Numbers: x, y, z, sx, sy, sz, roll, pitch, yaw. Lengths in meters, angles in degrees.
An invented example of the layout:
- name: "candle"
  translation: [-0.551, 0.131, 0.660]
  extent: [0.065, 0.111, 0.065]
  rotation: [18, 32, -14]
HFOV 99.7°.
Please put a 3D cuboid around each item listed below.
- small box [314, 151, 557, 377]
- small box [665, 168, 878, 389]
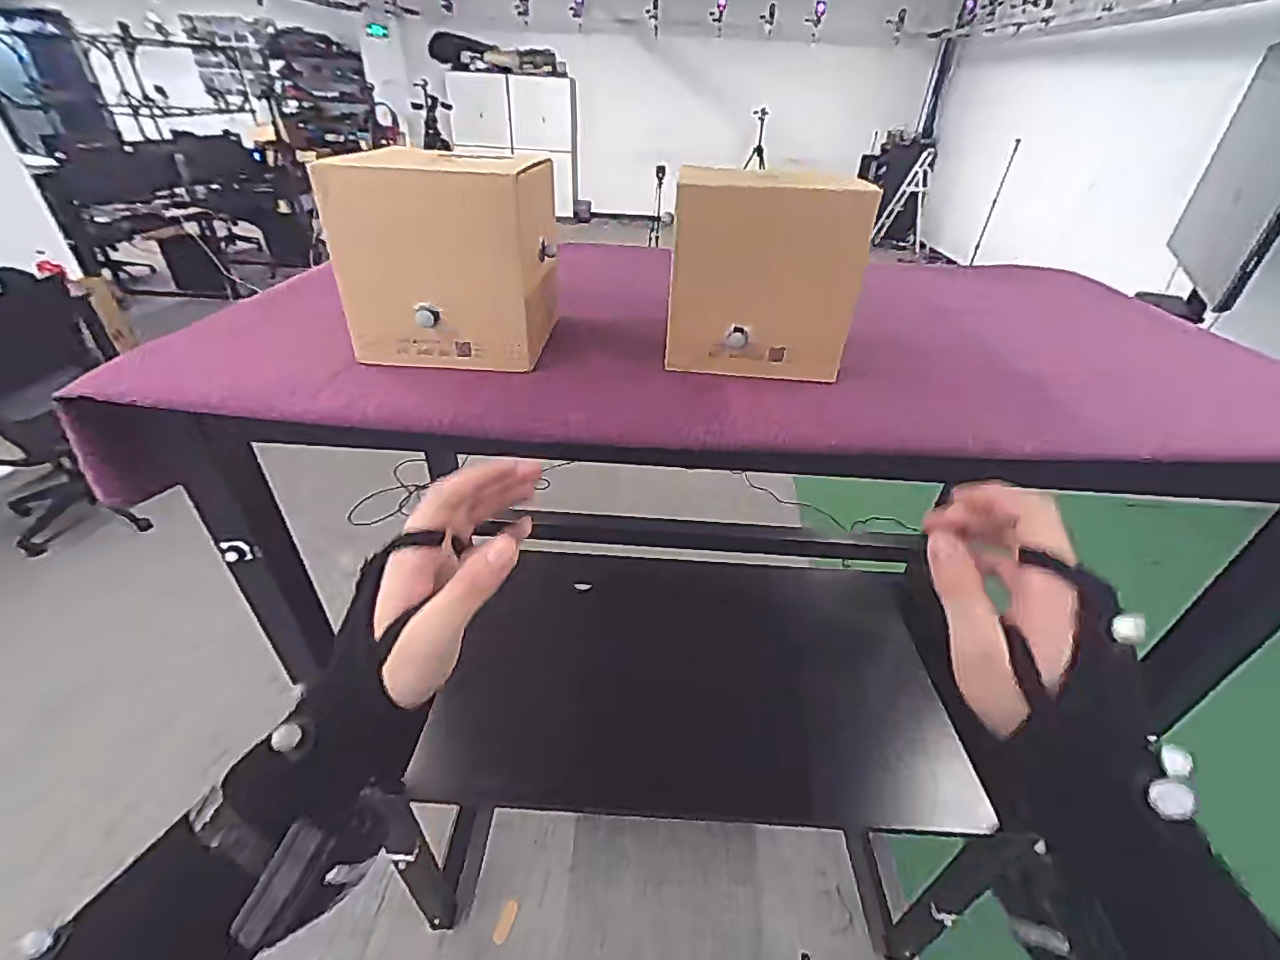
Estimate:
- name: "small box"
  translation: [-0.176, -0.217, 0.534]
  extent: [0.168, 0.176, 0.179]
  rotation: [3, 35, 0]
- name: "small box"
  translation: [0.114, -0.209, 0.547]
  extent: [0.168, 0.176, 0.179]
  rotation: [4, 35, 4]
